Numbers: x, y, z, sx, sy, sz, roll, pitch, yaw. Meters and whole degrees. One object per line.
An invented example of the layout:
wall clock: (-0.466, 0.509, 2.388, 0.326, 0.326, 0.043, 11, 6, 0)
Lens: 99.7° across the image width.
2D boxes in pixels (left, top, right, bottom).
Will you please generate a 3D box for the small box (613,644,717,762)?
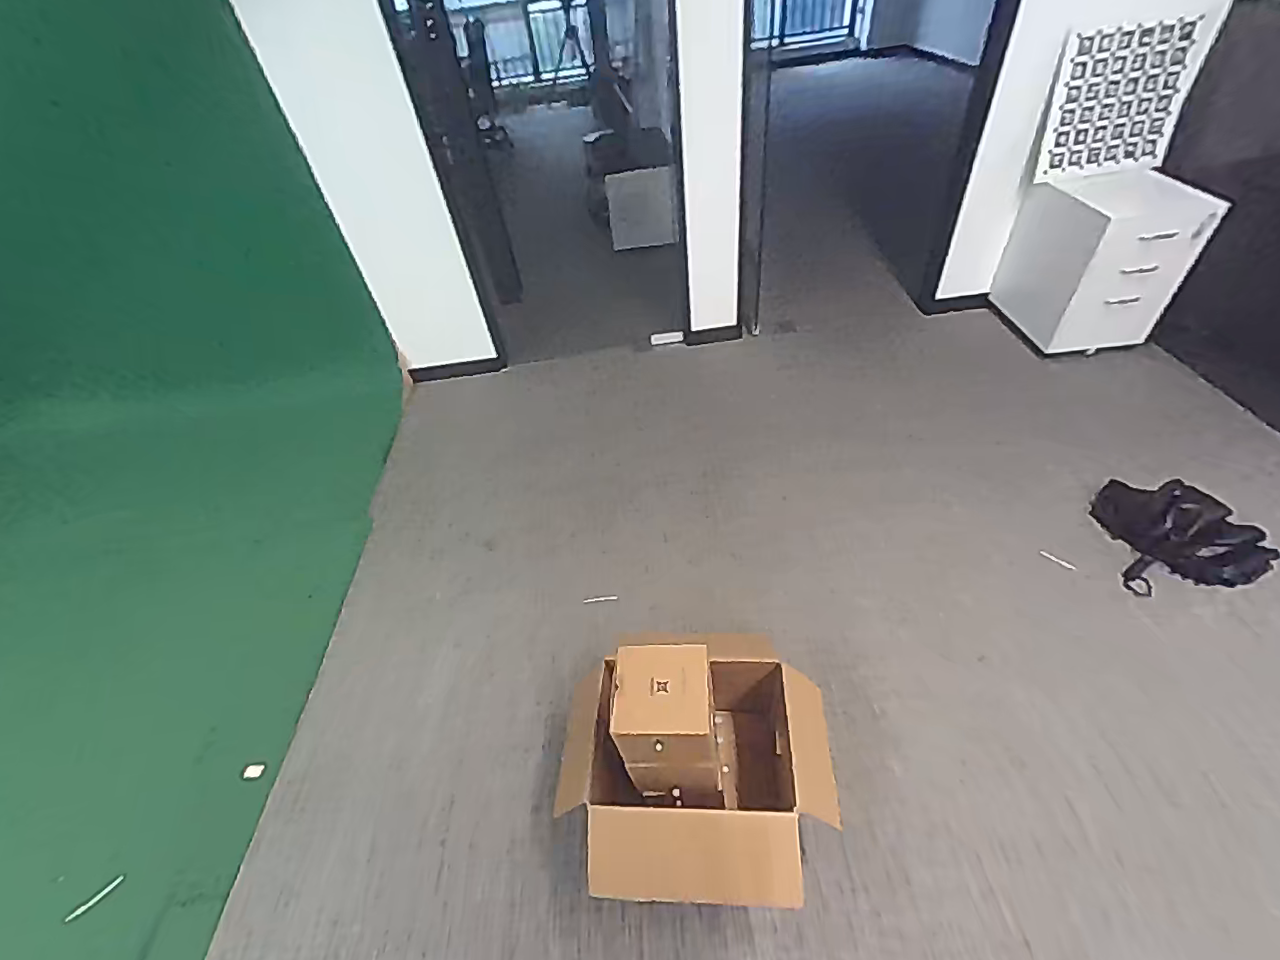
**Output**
small box: (0.053, 0.435, 1.047, 0.179, 0.176, 0.168, -4, 46, 7)
